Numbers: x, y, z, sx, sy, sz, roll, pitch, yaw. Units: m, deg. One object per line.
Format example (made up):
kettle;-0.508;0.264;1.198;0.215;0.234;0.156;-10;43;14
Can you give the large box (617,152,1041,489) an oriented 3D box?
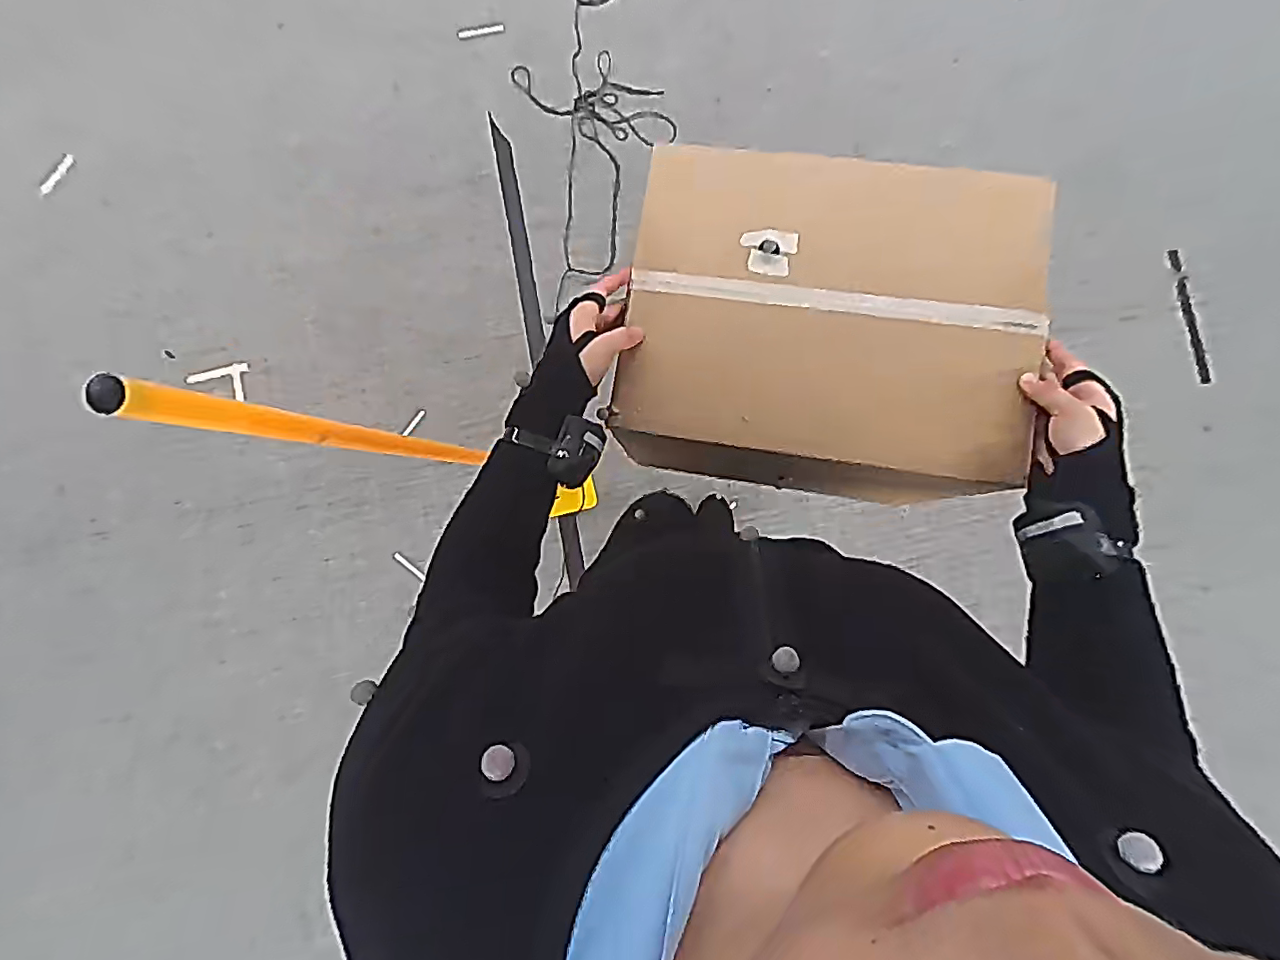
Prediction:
large box;0.206;-0.169;0.700;0.408;0.320;0.320;8;84;6
